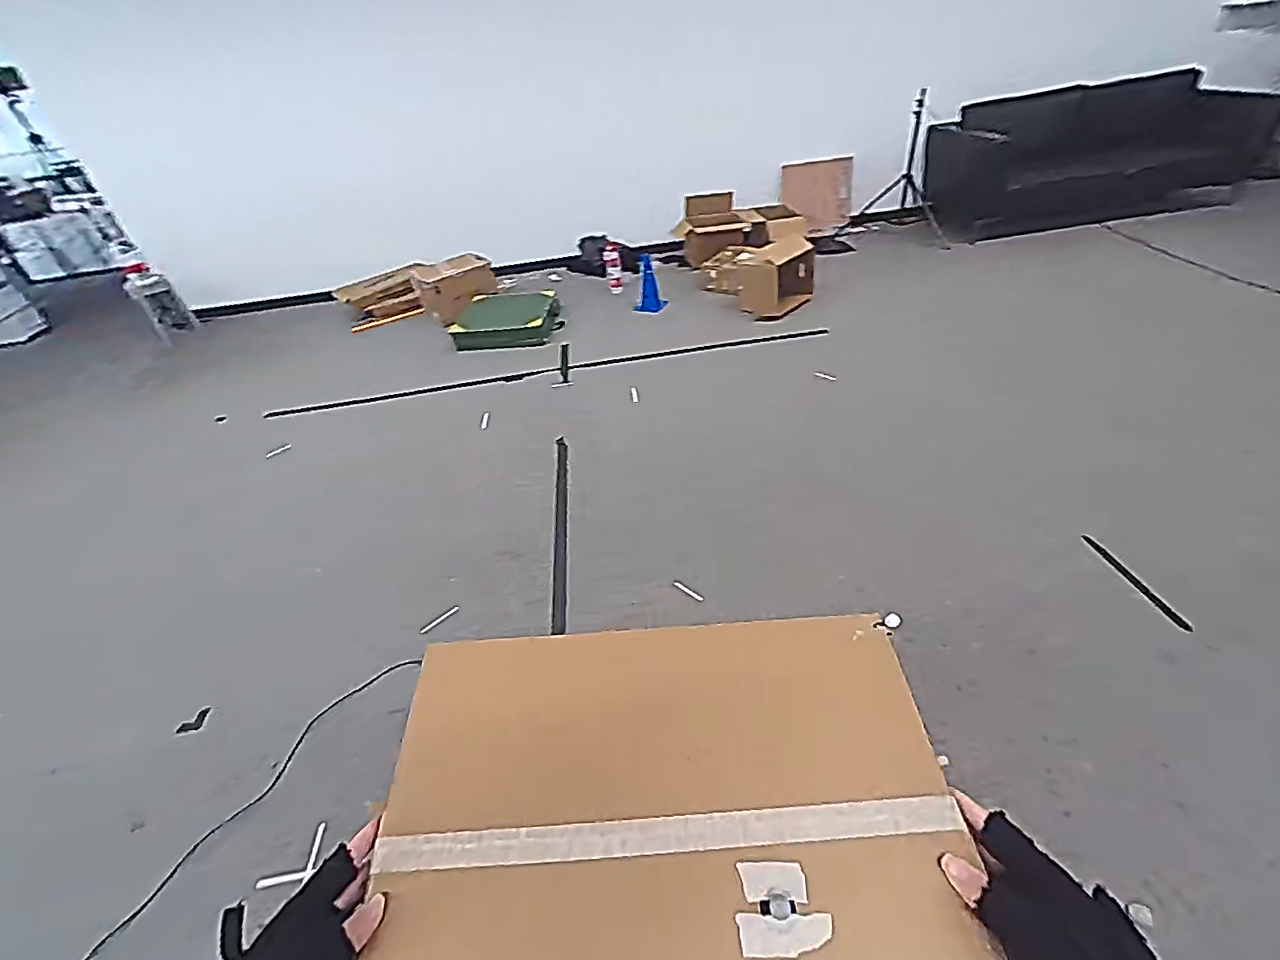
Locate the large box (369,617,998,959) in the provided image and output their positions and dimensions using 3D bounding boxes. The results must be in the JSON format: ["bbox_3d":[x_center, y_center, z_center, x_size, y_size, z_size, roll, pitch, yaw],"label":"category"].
[{"bbox_3d":[0.024,0.355,0.497,0.408,0.320,0.320,-4,47,-1],"label":"large box"}]
